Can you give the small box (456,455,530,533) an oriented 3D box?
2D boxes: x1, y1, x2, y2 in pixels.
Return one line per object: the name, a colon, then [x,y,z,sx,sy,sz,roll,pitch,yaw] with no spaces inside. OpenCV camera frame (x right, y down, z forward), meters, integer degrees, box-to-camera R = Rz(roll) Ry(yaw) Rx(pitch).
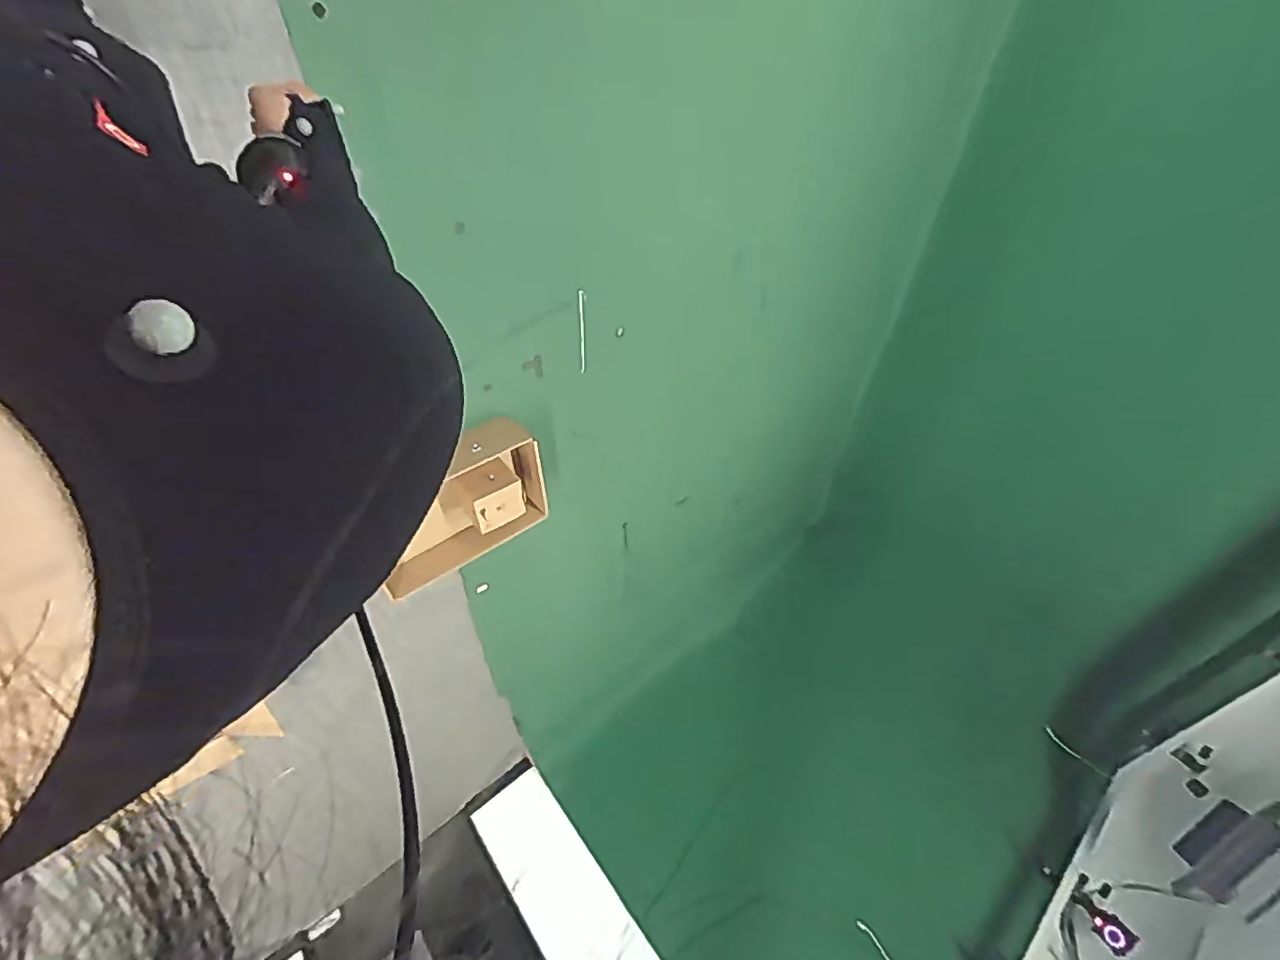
small box: [-0.507,0.042,1.870,0.179,0.176,0.168,-29,142,-28]
